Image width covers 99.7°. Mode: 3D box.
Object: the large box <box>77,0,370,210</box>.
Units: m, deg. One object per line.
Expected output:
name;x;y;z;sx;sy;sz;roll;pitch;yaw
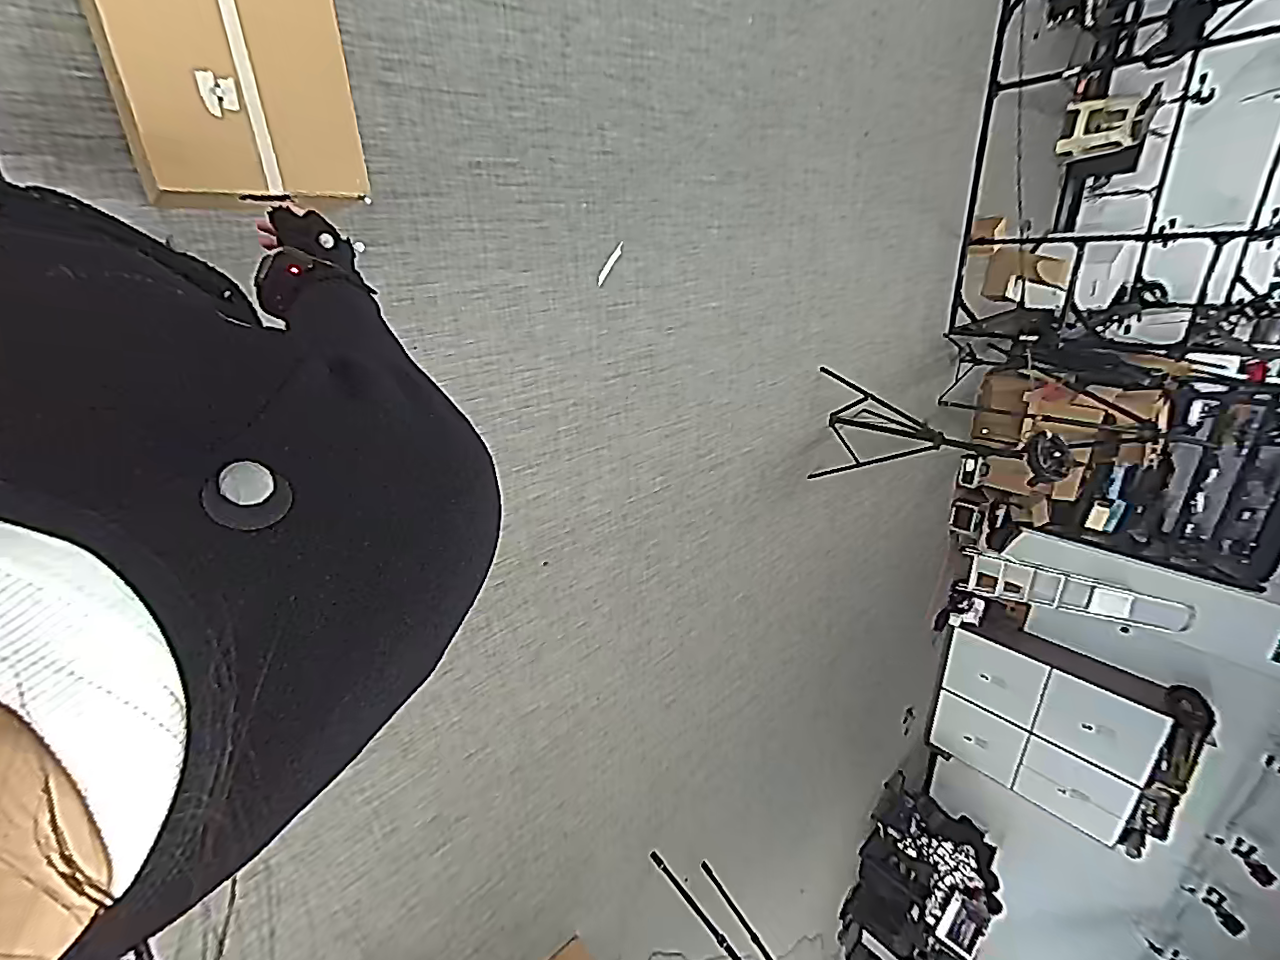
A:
large box;-0.727;-0.707;0.944;0.320;0.320;0.408;-21;120;-36
